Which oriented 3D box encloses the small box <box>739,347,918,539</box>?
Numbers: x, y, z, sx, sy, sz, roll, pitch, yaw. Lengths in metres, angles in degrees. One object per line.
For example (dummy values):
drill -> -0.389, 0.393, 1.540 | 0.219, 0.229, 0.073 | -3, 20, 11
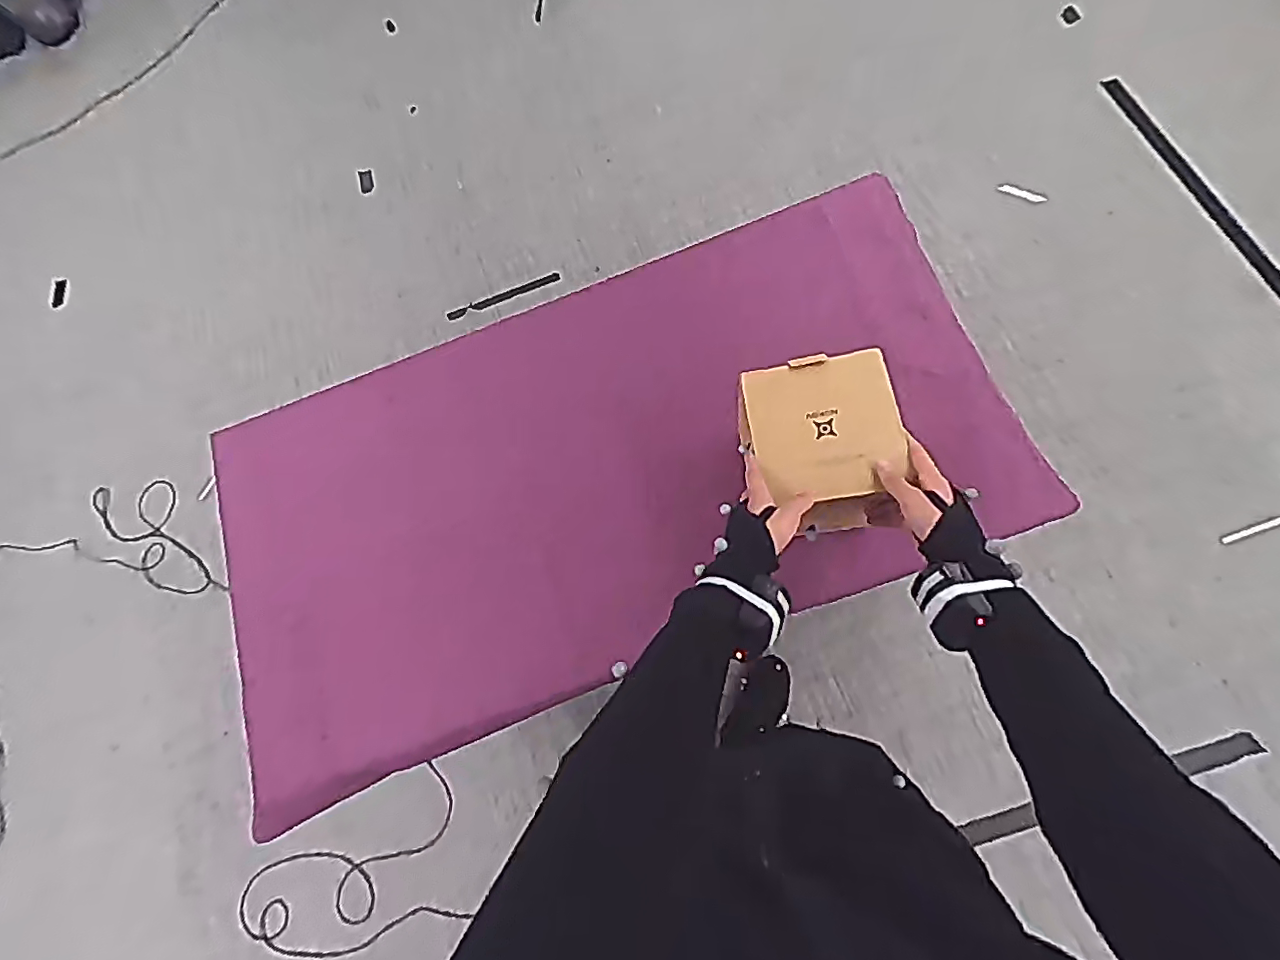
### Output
small box -> 0.218, -0.037, 0.678 | 0.168, 0.176, 0.179 | -8, 70, 8
